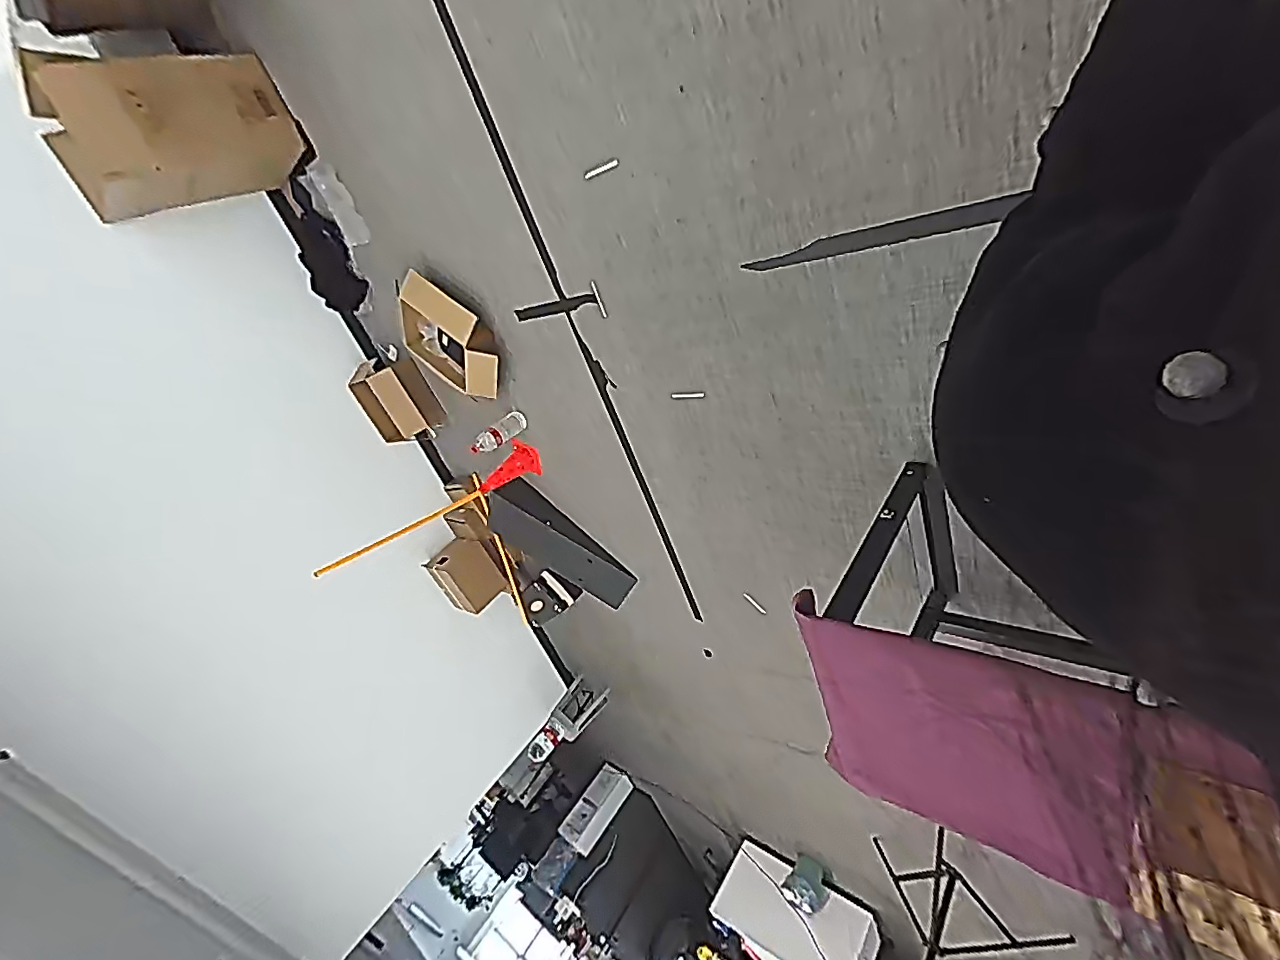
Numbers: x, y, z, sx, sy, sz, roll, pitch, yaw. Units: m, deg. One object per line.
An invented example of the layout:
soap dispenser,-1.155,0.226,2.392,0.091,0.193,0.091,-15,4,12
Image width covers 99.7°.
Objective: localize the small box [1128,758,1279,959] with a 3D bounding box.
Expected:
small box,0.848,0.558,0.799,0.168,0.176,0.179,7,130,41
